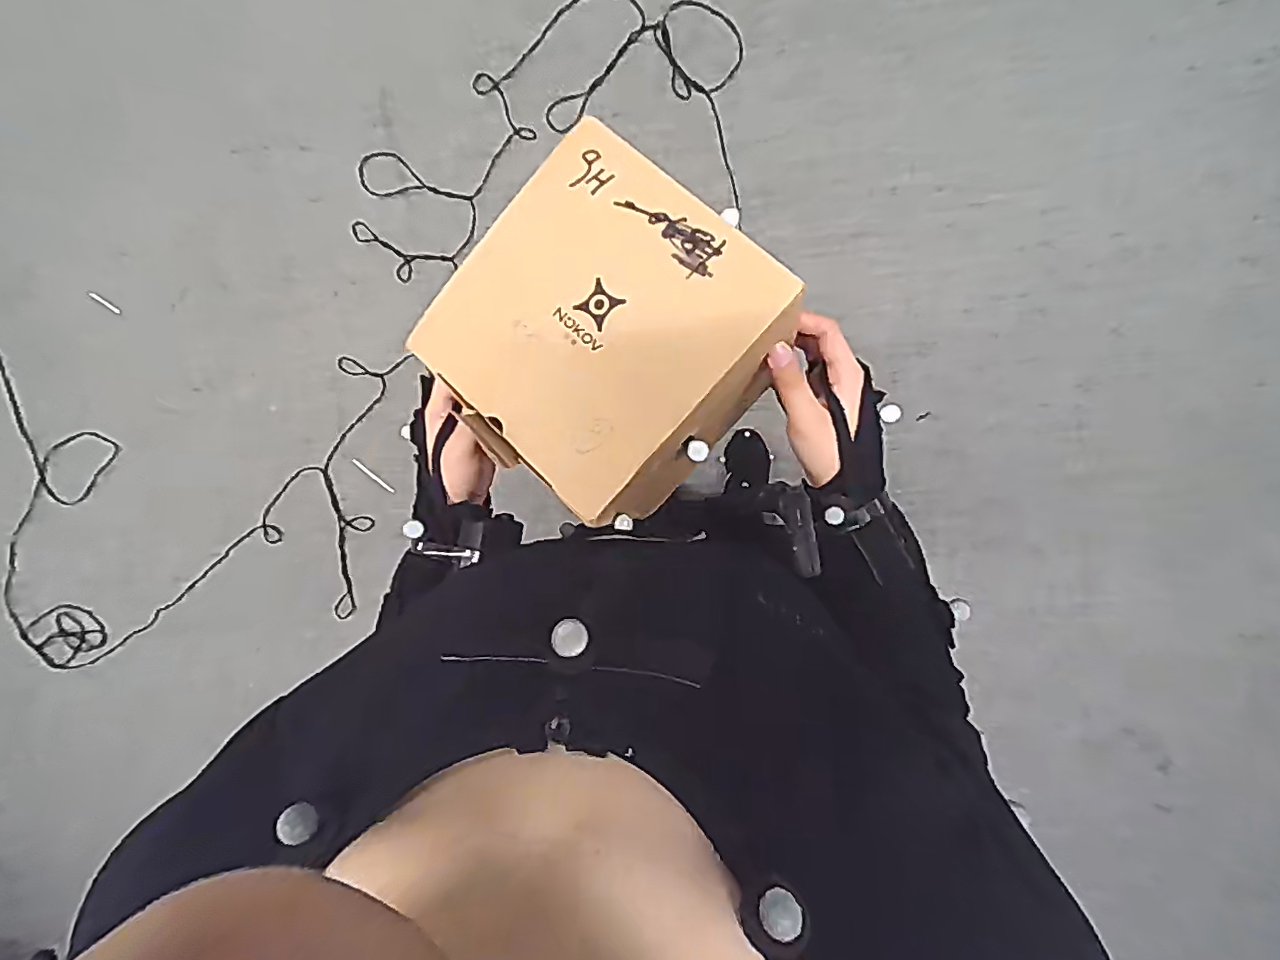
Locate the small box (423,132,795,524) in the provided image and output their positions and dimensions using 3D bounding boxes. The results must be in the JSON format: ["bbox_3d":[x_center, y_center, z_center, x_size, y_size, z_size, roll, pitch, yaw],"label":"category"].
[{"bbox_3d":[-0.008,-0.088,0.395,0.168,0.176,0.179,43,98,10],"label":"small box"}]
